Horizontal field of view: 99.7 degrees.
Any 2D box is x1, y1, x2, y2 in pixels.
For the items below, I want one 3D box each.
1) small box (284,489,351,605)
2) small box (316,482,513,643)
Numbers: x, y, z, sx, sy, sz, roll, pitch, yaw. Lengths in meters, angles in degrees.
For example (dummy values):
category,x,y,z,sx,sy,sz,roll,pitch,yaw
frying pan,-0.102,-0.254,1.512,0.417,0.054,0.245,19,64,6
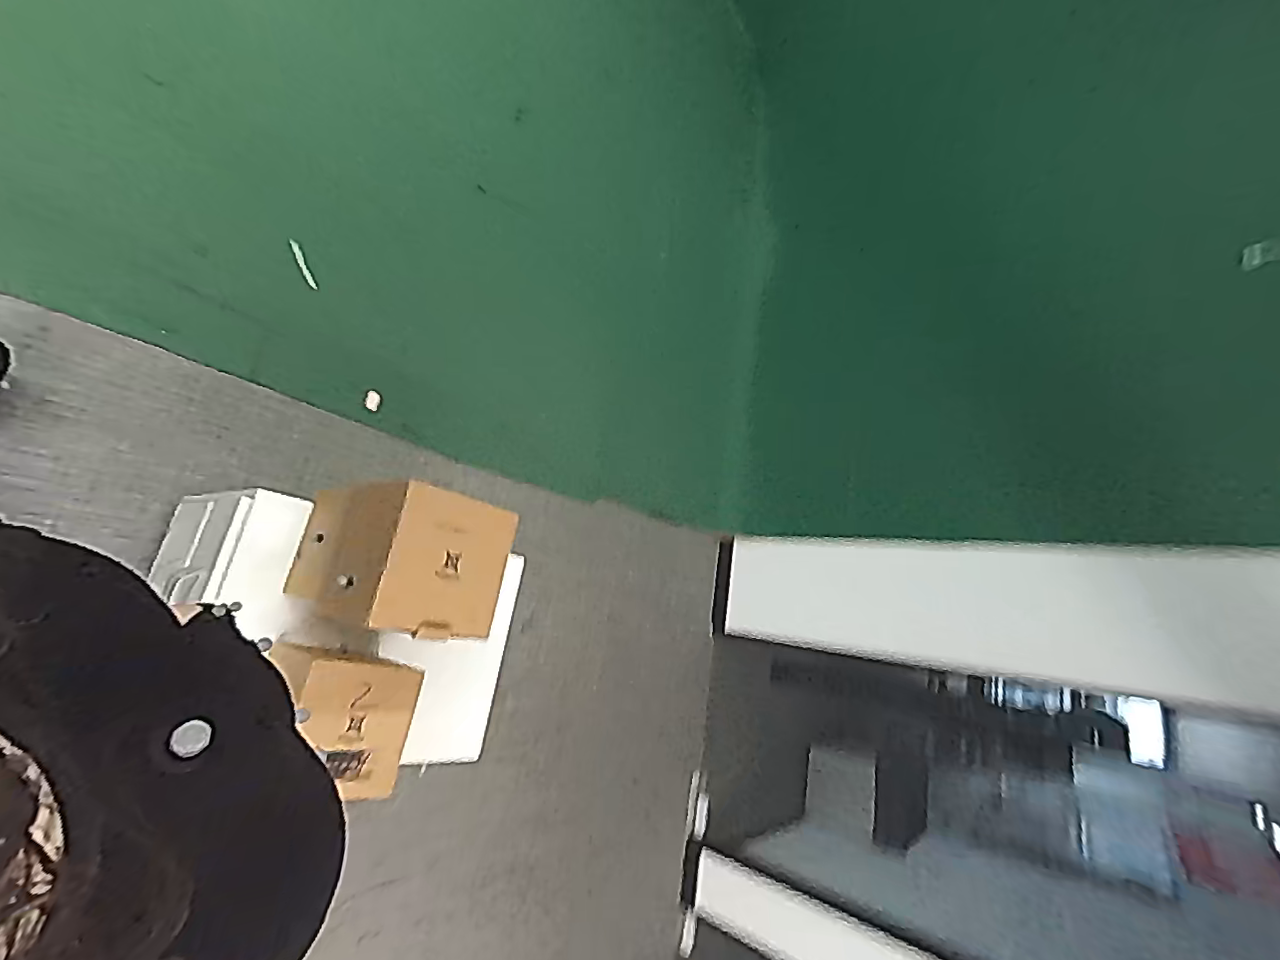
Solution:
category,x,y,z,sx,sy,sz,roll,pitch,yaw
small box,-0.417,0.120,0.844,0.179,0.176,0.168,28,69,-45
small box,-0.304,0.111,0.728,0.168,0.176,0.179,27,68,-47
